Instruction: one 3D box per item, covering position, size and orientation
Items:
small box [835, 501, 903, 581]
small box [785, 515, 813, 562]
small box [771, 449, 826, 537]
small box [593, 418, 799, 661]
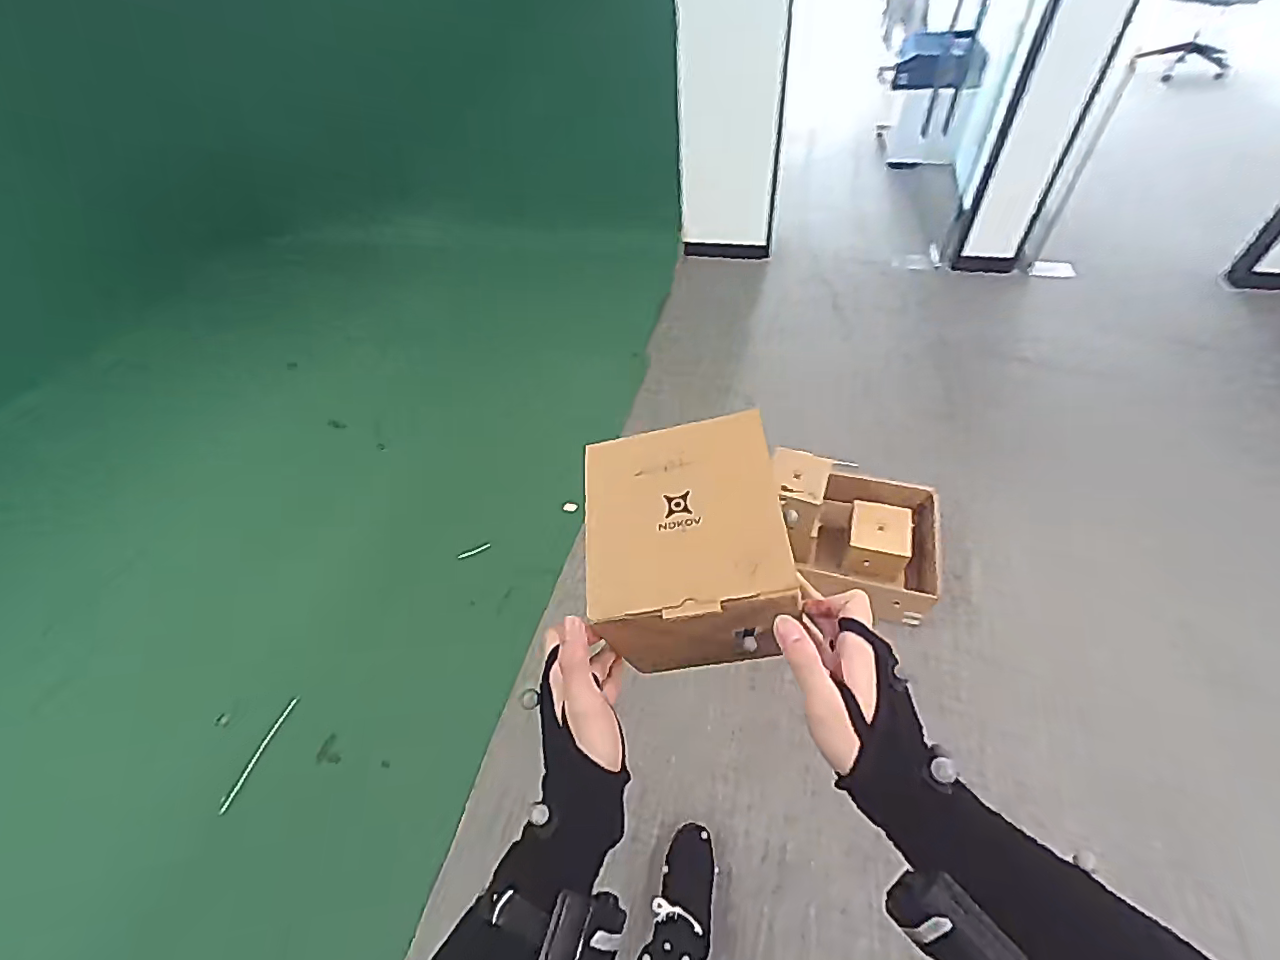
[{"bbox_3d":[0.715,0.195,1.695,0.168,0.176,0.179,10,53,14],"label":"small box"},{"bbox_3d":[0.464,0.145,1.756,0.168,0.176,0.179,11,53,12],"label":"small box"},{"bbox_3d":[0.448,0.040,1.632,0.168,0.176,0.179,16,54,16],"label":"small box"},{"bbox_3d":[0.058,0.069,0.531,0.168,0.176,0.179,-10,55,11],"label":"small box"}]
